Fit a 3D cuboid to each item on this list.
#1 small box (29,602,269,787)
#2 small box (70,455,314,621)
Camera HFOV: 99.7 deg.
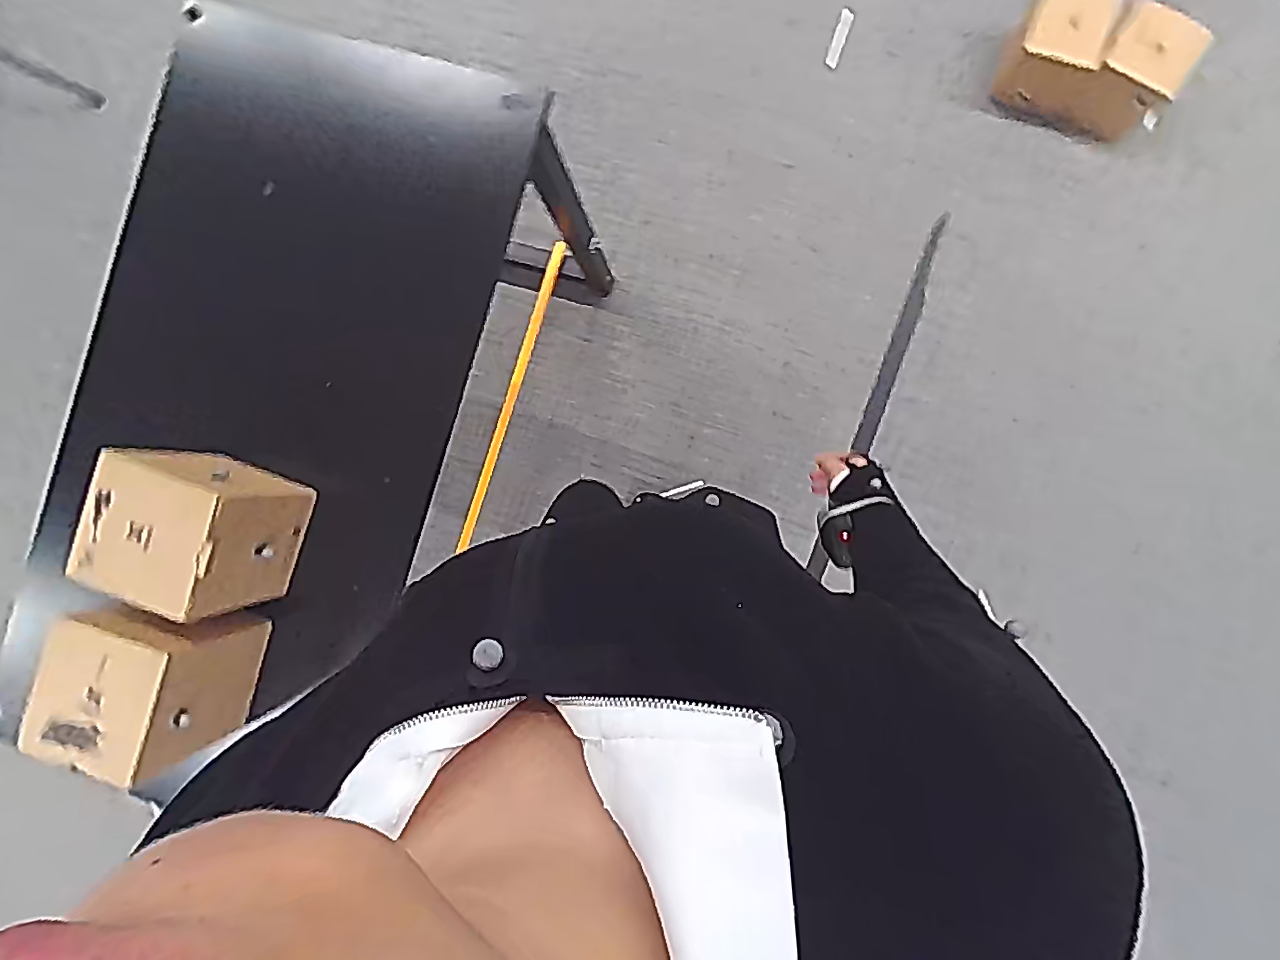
[{"bbox_3d":[-0.663,0.276,0.752,0.168,0.176,0.179,16,90,6],"label":"small box"},{"bbox_3d":[-0.598,0.071,0.746,0.179,0.176,0.168,19,90,5],"label":"small box"}]
